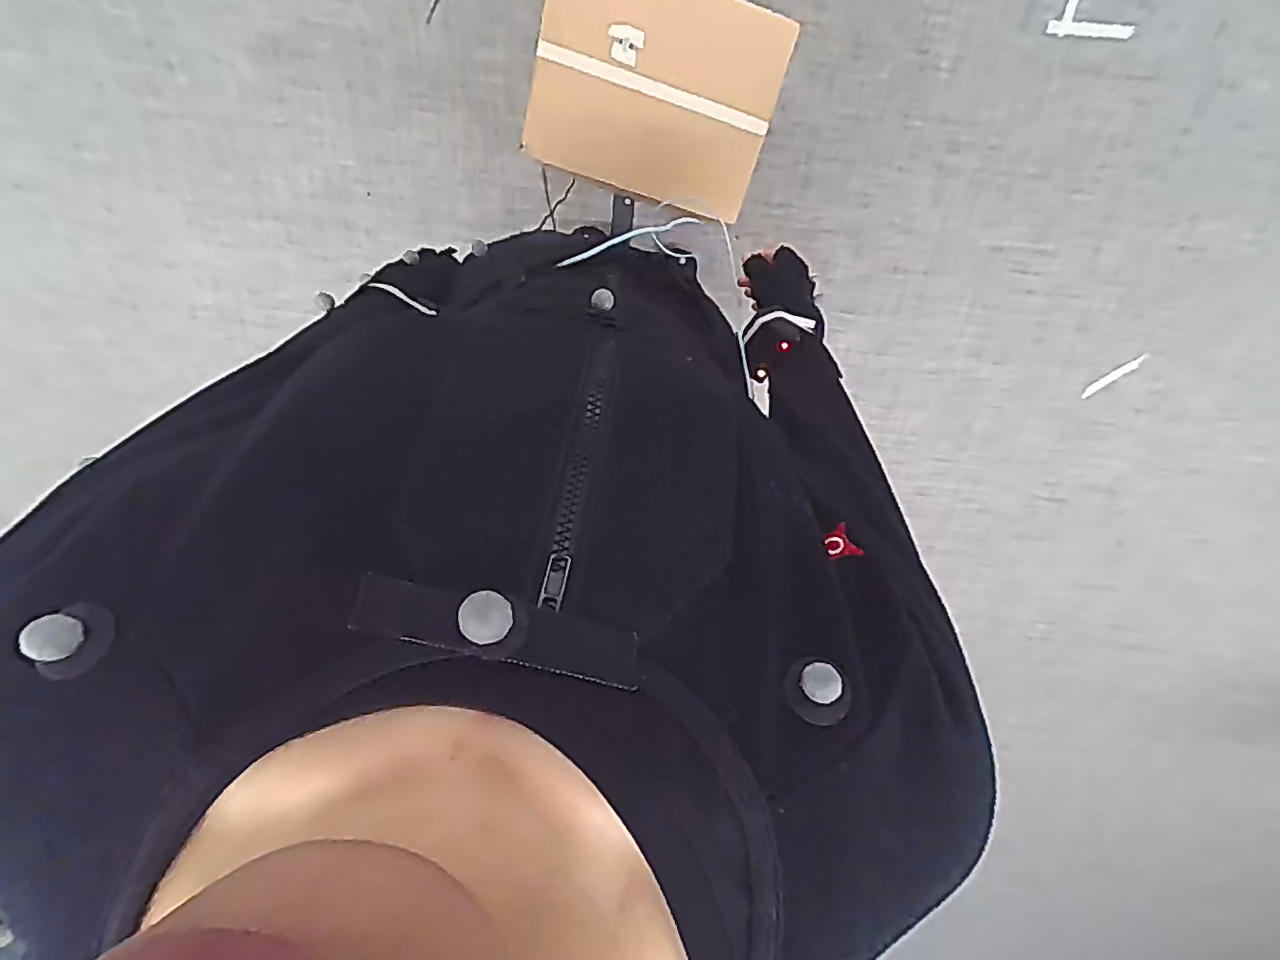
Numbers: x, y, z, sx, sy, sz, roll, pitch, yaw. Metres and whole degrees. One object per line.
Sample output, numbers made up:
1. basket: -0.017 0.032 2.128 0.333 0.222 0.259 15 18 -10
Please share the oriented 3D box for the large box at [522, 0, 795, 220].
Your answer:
1. large box: 0.023 -0.725 1.049 0.408 0.320 0.320 15 113 -8
